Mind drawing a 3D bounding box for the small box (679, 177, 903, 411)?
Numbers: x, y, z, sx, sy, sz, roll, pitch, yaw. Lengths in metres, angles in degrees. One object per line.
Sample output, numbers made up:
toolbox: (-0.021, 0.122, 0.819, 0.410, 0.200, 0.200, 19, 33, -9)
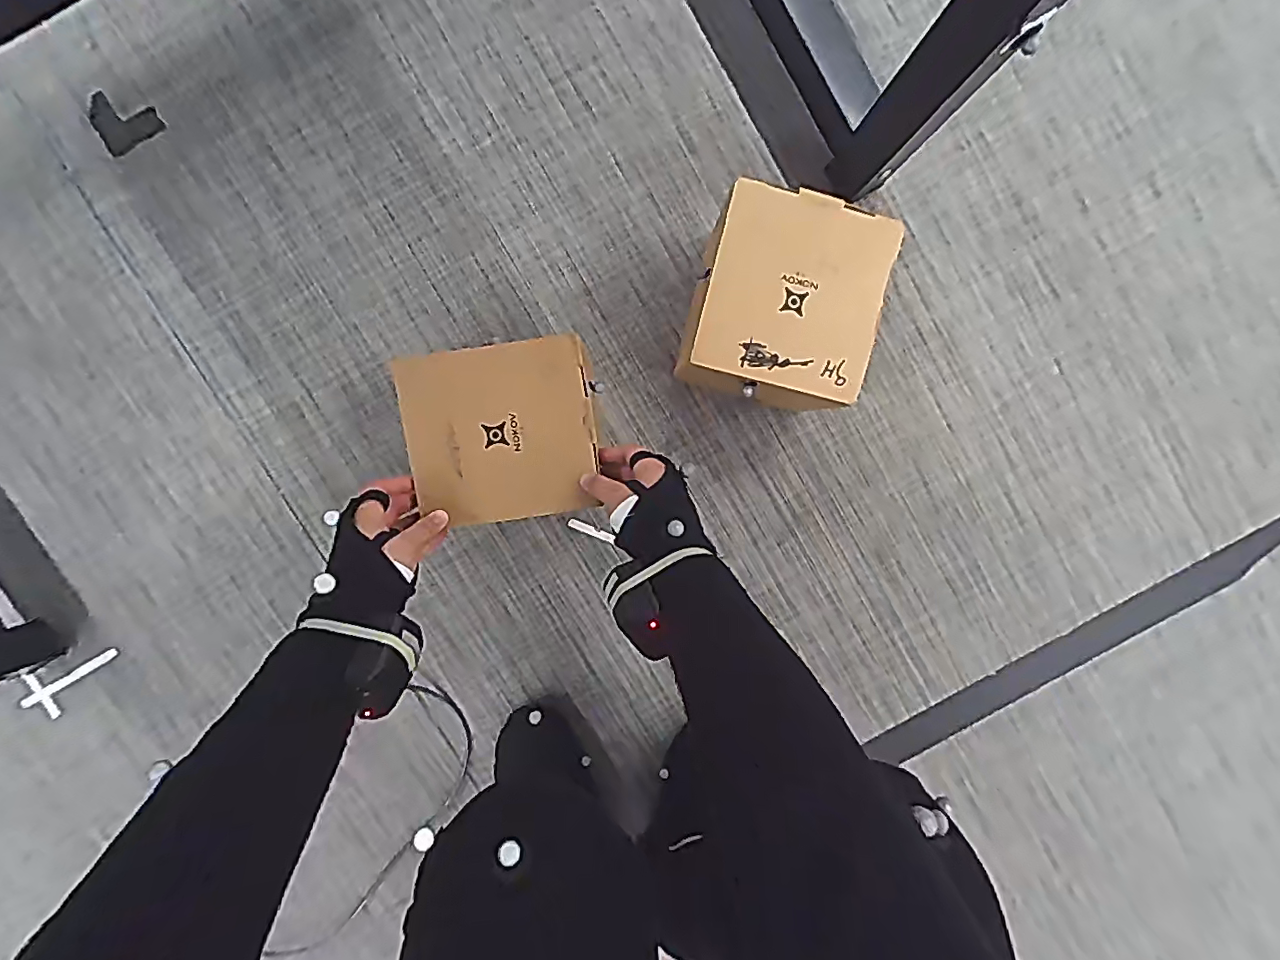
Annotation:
small box: (0.143, -0.180, 0.581, 0.168, 0.176, 0.179, 13, 94, -2)

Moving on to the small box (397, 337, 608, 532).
small box: (-0.131, -0.049, 0.587, 0.179, 0.176, 0.168, -9, 94, 0)
